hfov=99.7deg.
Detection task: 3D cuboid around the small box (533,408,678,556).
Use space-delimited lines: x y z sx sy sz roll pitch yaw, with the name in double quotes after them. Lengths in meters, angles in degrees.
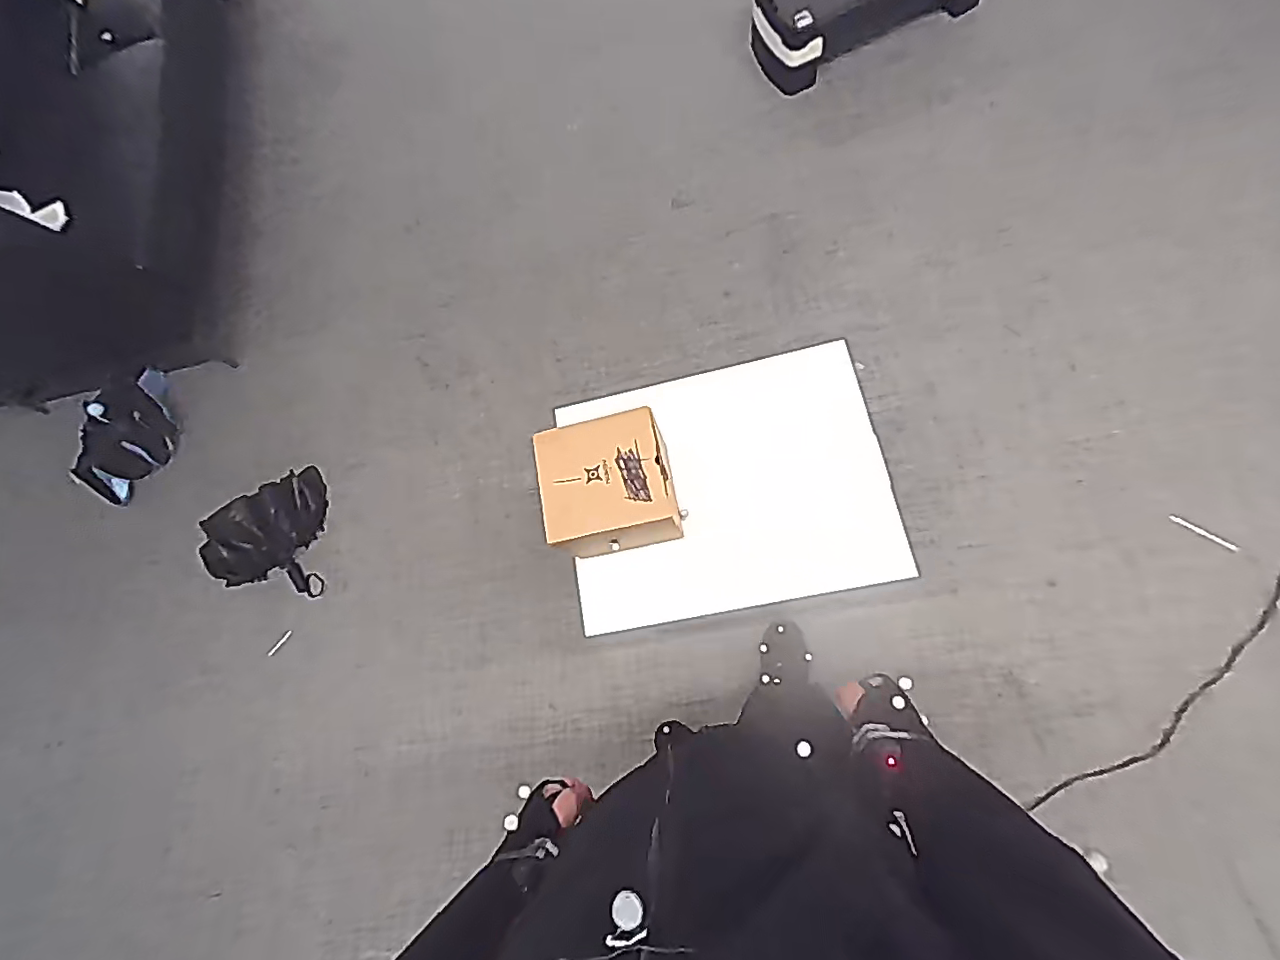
-0.043 0.013 0.817 0.179 0.176 0.168 -13 73 8 "small box"
